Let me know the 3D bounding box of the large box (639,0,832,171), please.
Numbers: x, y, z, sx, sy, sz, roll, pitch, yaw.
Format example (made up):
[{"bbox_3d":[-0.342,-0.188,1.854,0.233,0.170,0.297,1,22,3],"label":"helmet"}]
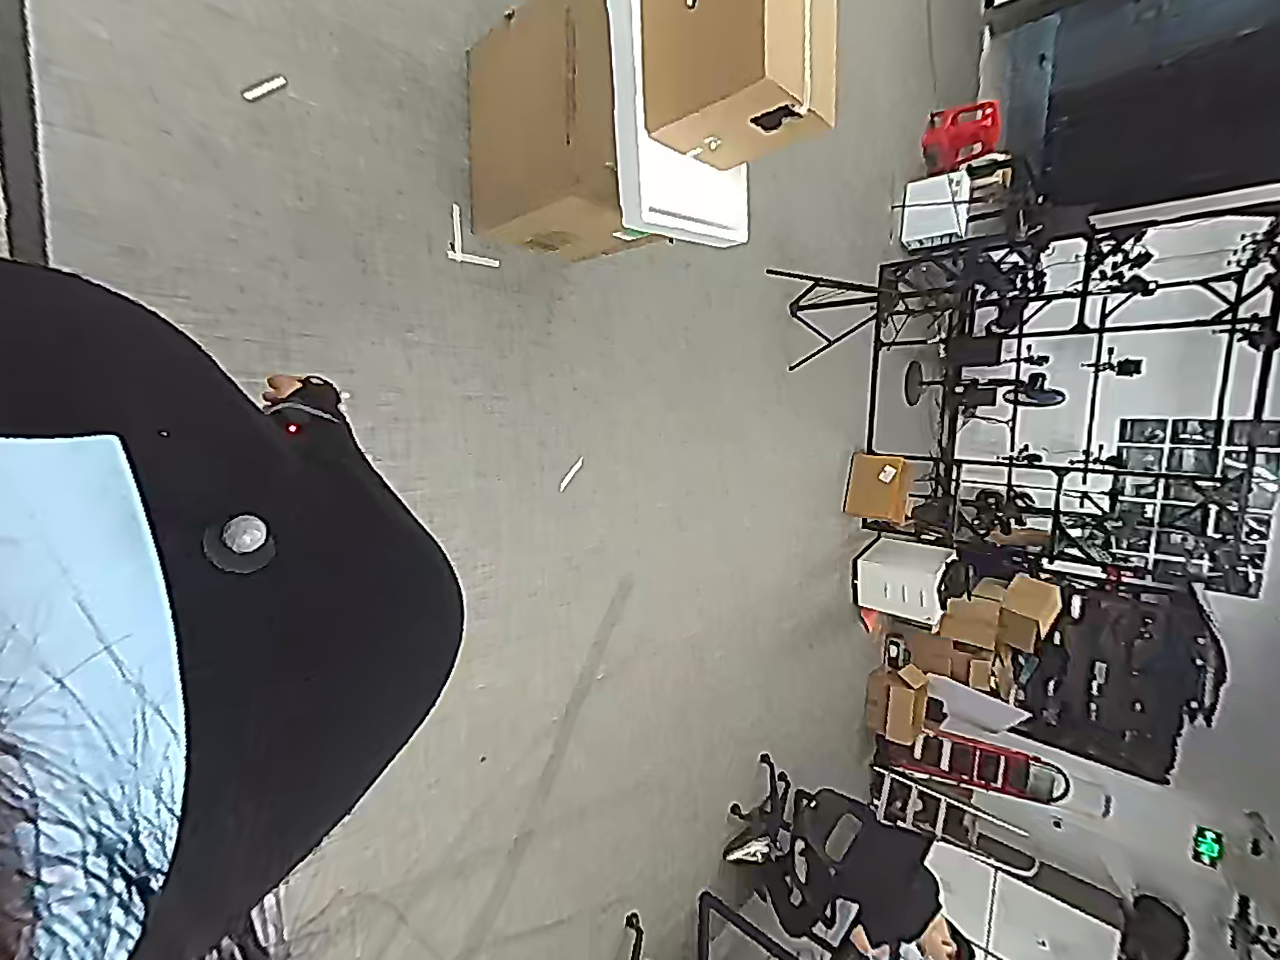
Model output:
[{"bbox_3d":[0.212,-0.973,1.190,0.320,0.320,0.408,-12,103,-47],"label":"large box"}]
